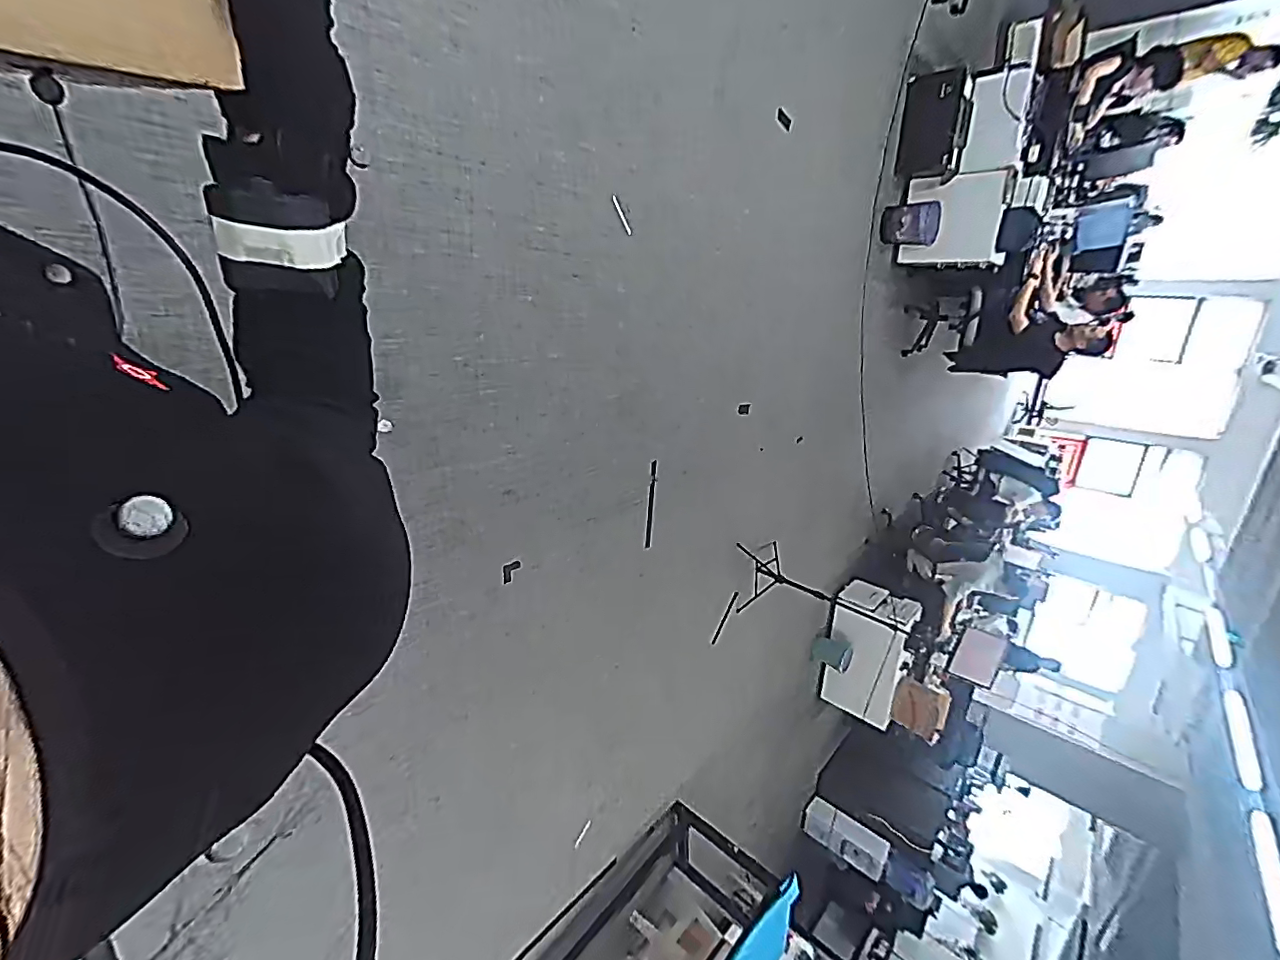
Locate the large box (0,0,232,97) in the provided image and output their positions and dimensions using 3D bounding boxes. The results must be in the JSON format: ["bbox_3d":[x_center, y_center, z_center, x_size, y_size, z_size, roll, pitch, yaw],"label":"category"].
[{"bbox_3d":[-0.437,-0.337,0.159,0.408,0.320,0.320,-23,131,-43],"label":"large box"}]
